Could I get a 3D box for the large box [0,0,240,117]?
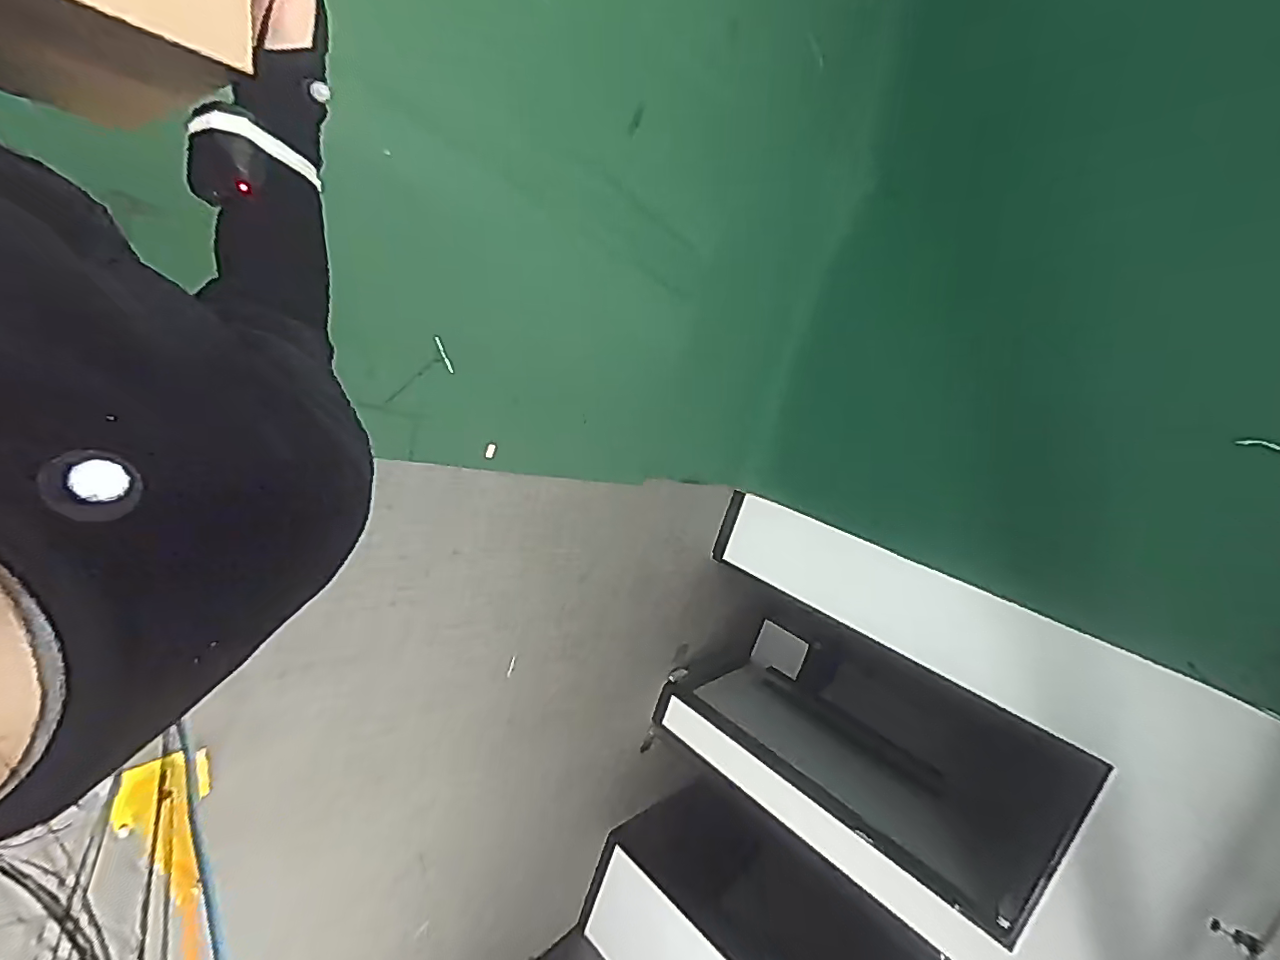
[{"bbox_3d":[-0.534,-0.475,0.316,0.408,0.320,0.320,-12,112,-54],"label":"large box"}]
